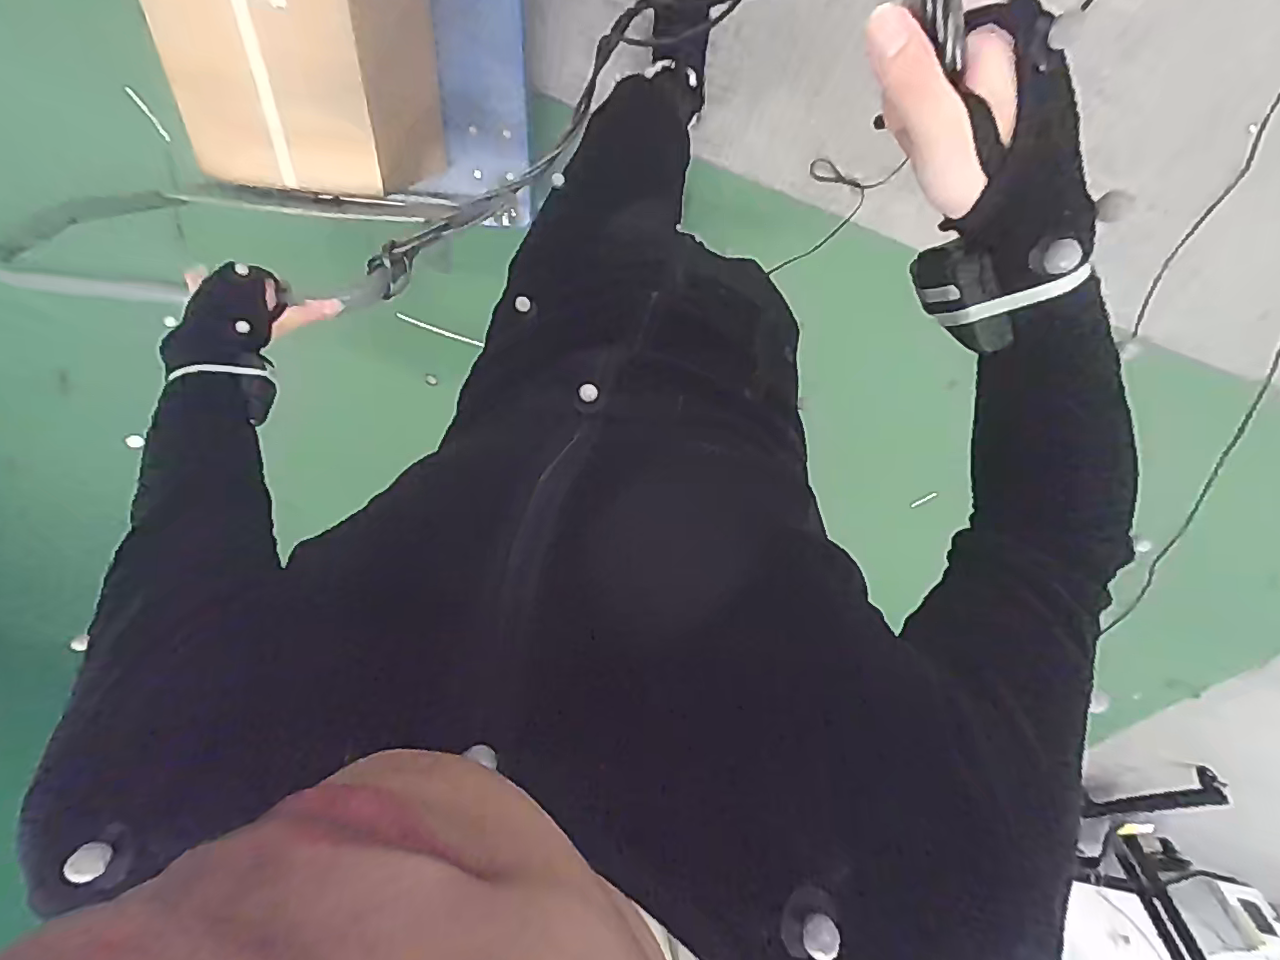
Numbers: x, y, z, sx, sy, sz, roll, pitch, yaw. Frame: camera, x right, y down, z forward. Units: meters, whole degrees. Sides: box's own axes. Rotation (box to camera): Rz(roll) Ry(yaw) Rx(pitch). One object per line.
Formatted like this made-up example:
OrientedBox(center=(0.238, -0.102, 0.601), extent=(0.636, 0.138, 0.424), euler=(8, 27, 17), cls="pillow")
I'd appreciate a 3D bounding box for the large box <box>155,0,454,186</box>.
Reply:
OrientedBox(center=(-0.540, -0.750, 0.910), extent=(0.320, 0.320, 0.408), euler=(6, 127, 1), cls="large box")
